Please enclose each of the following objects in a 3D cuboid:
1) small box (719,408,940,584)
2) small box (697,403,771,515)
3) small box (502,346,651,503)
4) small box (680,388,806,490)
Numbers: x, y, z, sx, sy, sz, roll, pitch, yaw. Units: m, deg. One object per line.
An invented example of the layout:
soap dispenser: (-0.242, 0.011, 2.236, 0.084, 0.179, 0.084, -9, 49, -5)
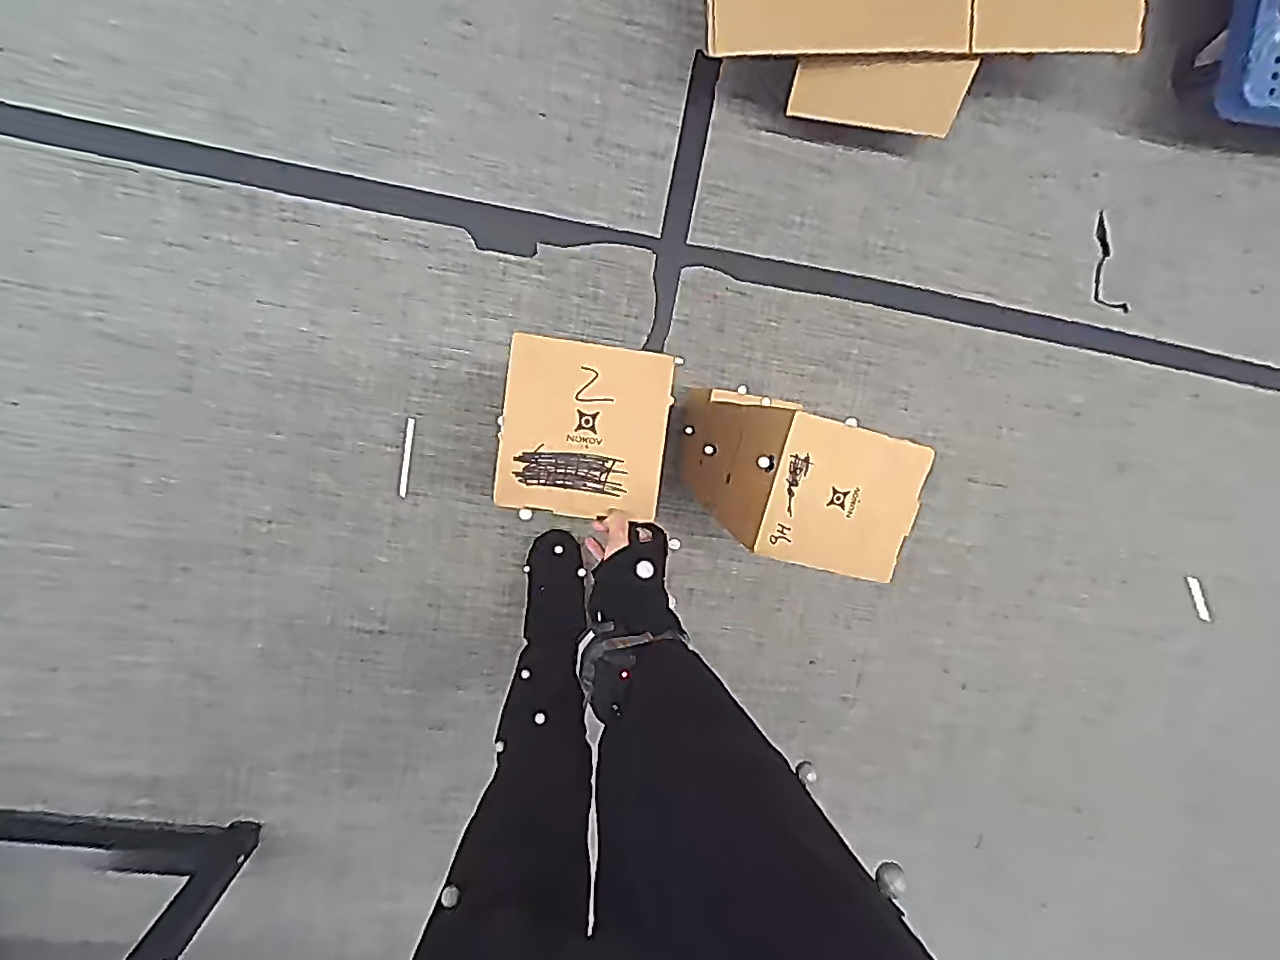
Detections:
small box: (0.220, 0.010, 0.676, 0.179, 0.176, 0.168, 14, 98, -11)
small box: (0.200, -0.022, 0.835, 0.179, 0.176, 0.168, 11, 99, -10)
small box: (-0.095, -0.083, 0.790, 0.168, 0.176, 0.179, 13, 97, -11)
small box: (0.178, -0.068, 0.993, 0.168, 0.176, 0.179, 8, 98, -9)
